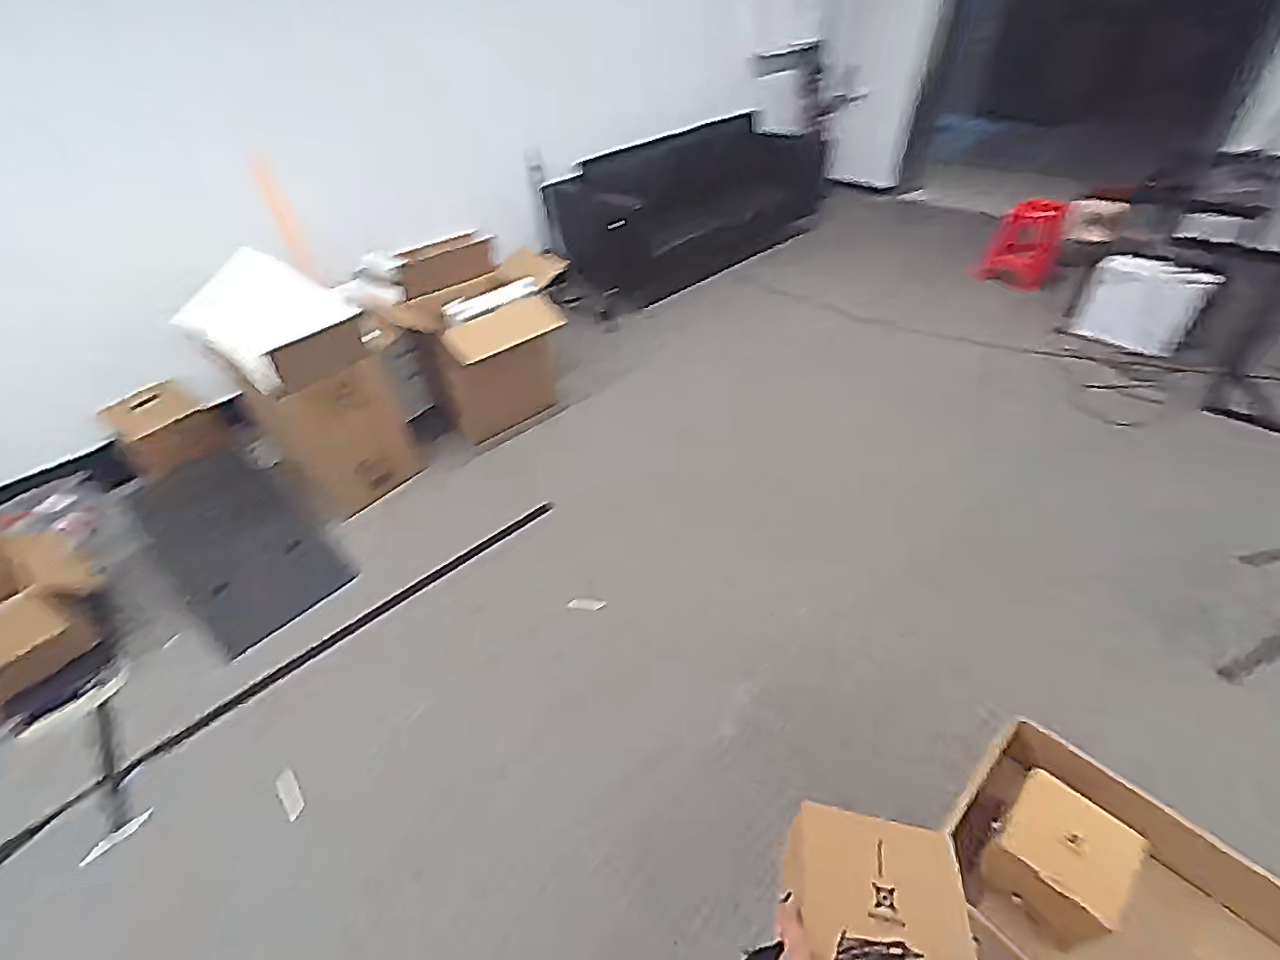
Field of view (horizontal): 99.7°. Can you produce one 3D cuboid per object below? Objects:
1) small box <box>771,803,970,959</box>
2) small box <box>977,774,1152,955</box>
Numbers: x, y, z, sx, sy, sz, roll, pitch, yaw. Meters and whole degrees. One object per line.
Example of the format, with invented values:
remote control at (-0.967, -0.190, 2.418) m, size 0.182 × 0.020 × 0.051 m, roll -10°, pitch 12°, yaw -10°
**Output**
small box at (0.241, 0.499, 0.593) m, size 0.168 × 0.176 × 0.179 m, roll 8°, pitch 37°, yaw 10°
small box at (0.723, 0.664, 0.938) m, size 0.179 × 0.176 × 0.168 m, roll -34°, pitch 49°, yaw -29°
